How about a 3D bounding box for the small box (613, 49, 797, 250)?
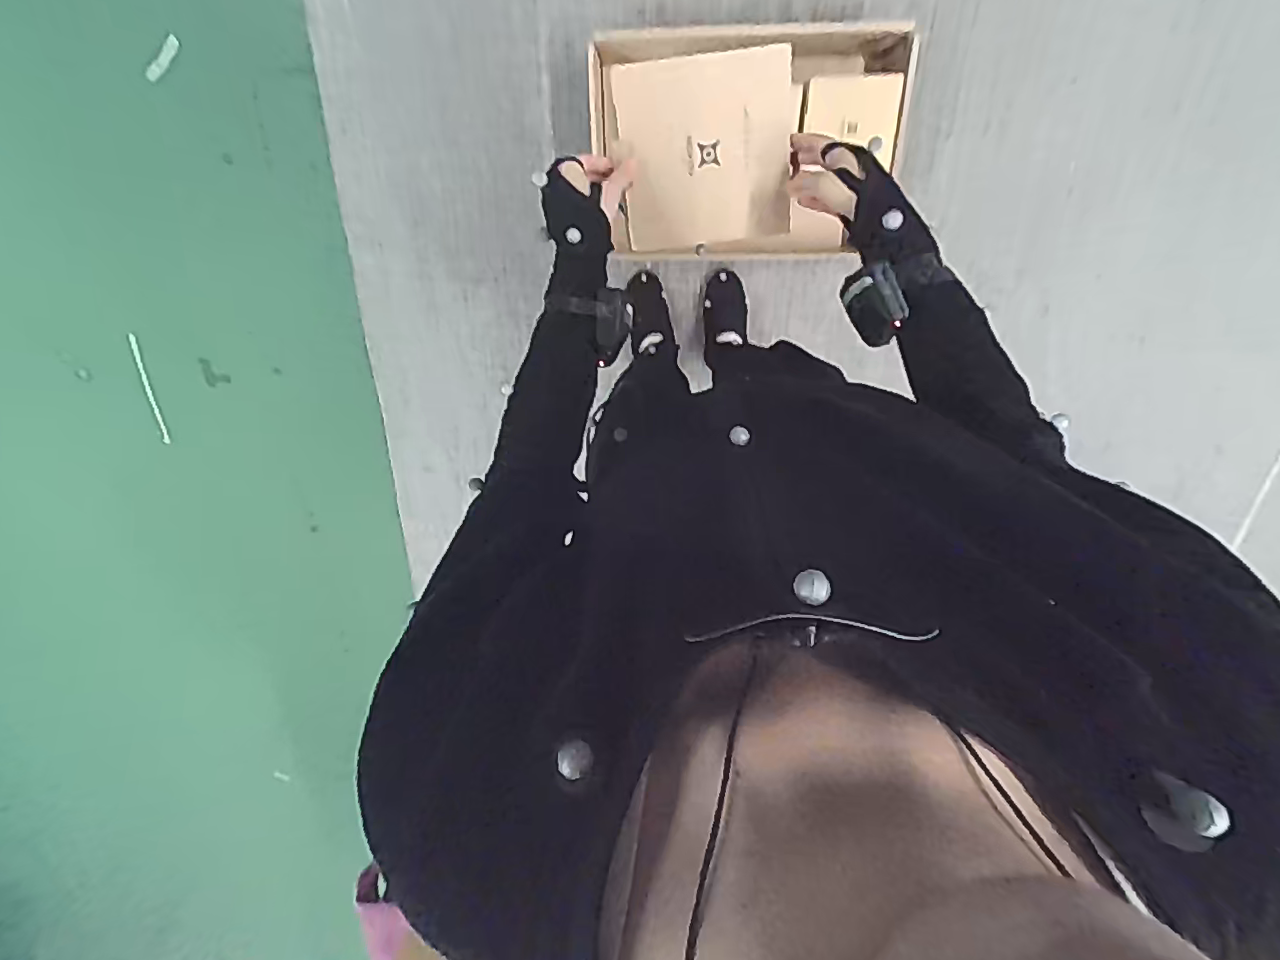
[{"bbox_3d":[0.067,-0.359,0.615,0.179,0.176,0.168,-6,116,1],"label":"small box"}]
